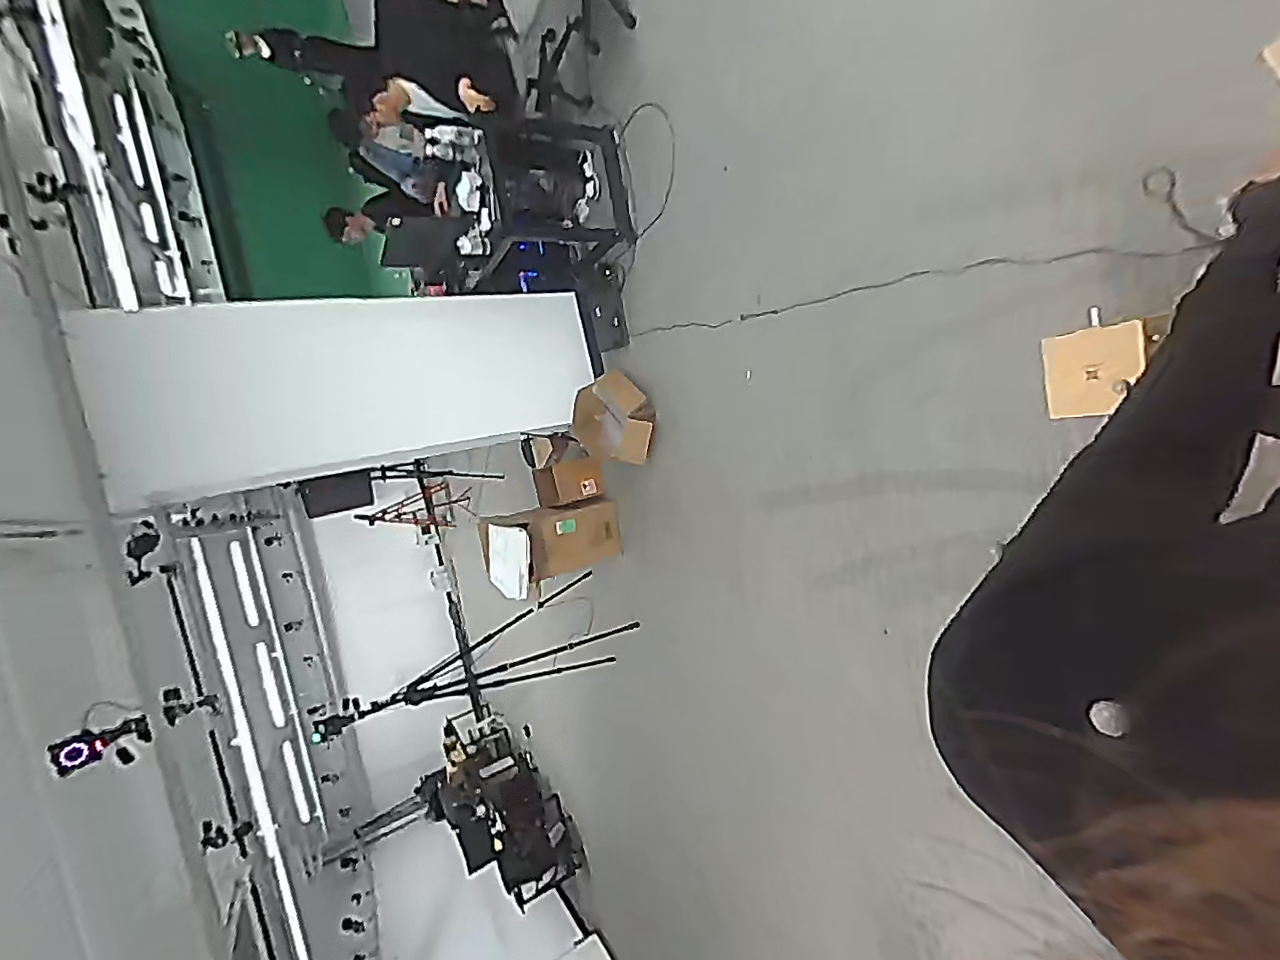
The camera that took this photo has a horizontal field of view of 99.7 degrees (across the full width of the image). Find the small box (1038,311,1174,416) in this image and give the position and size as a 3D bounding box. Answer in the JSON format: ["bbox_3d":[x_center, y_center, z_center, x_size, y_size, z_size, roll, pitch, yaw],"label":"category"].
[{"bbox_3d":[0.965,-0.239,1.119,0.168,0.176,0.179,0,103,60],"label":"small box"}]
